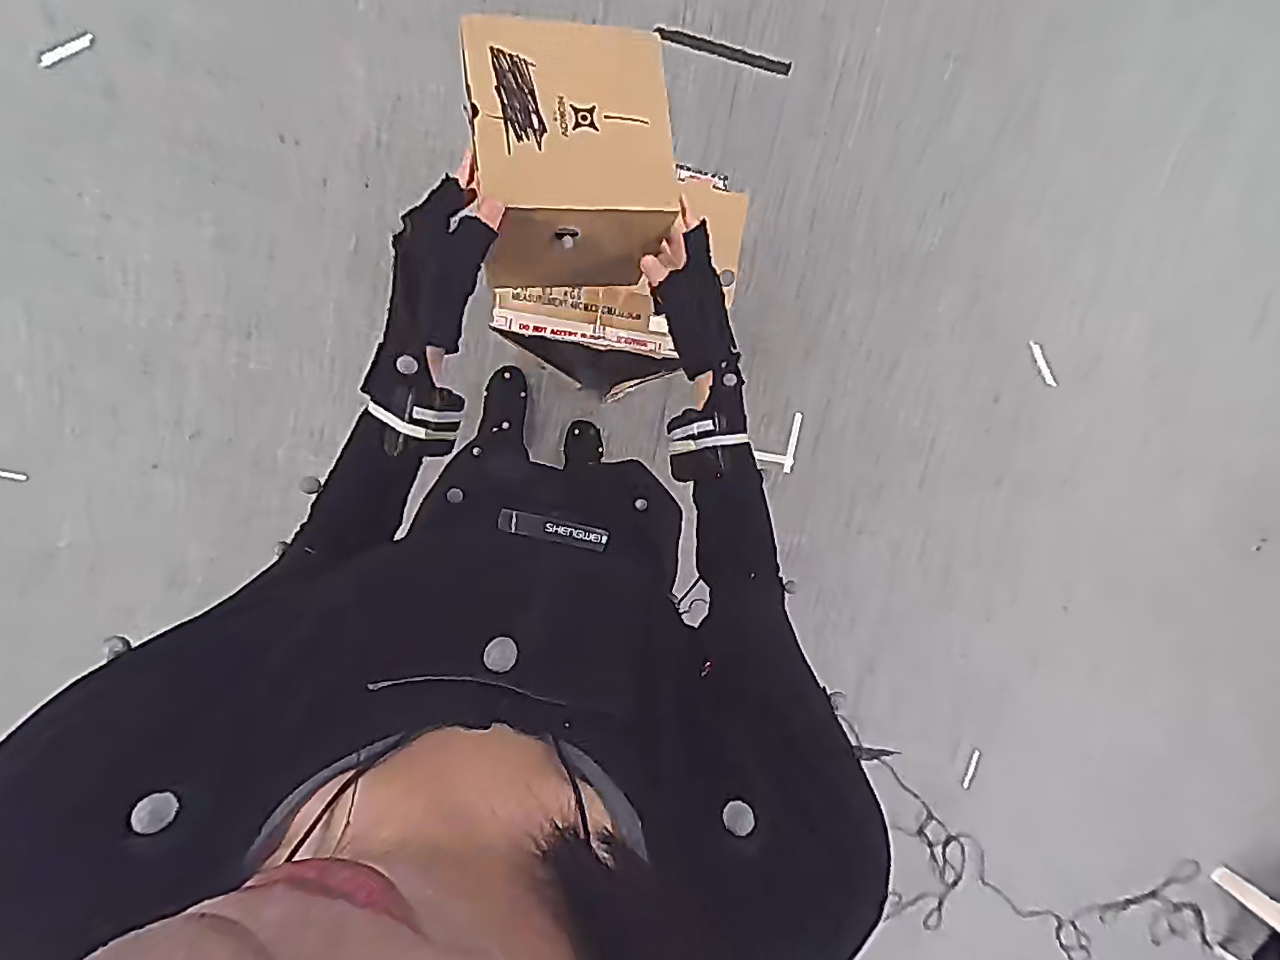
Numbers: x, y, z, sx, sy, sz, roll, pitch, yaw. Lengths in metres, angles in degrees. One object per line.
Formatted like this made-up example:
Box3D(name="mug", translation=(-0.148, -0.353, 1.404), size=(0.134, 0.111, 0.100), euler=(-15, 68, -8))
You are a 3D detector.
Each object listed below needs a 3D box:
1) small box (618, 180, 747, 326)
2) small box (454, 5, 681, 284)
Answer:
Box3D(name="small box", translation=(0.060, -0.367, 0.895), size=(0.168, 0.176, 0.179), euler=(8, 96, -9))
Box3D(name="small box", translation=(-0.076, -0.302, 0.527), size=(0.179, 0.176, 0.168), euler=(-7, 89, -16))
